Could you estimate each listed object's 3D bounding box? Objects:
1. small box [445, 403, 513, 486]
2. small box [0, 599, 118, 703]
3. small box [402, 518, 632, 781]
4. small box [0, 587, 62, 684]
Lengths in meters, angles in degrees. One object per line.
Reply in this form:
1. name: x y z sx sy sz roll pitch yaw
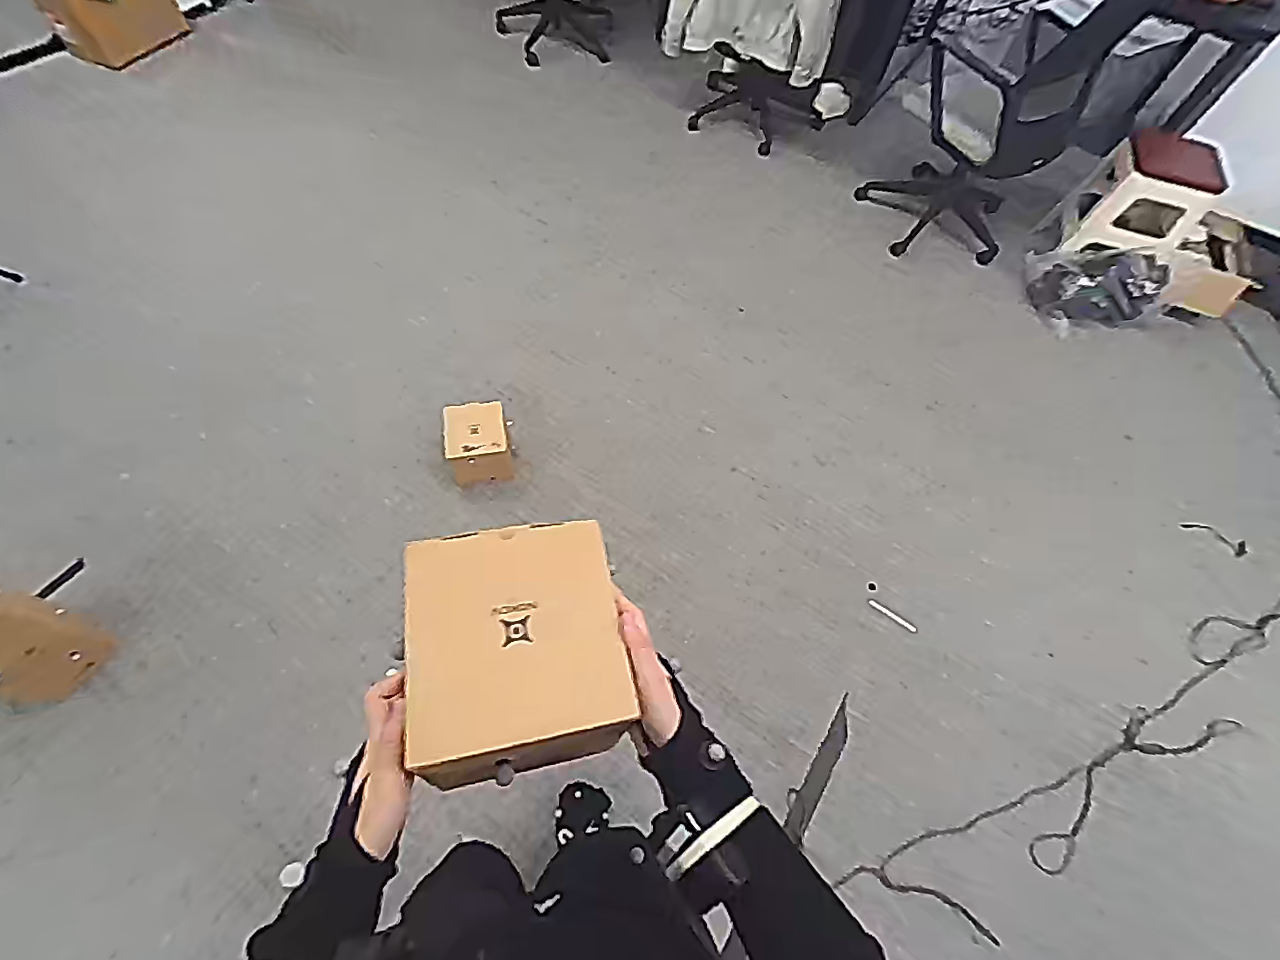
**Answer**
1. small box: -0.472 -0.103 1.593 0.168 0.176 0.179 -8 62 -10
2. small box: -1.394 0.398 1.255 0.179 0.176 0.168 28 62 12
3. small box: -0.111 0.159 0.493 0.168 0.176 0.179 -7 57 -15
4. small box: -1.380 0.316 1.113 0.179 0.176 0.168 29 63 12
